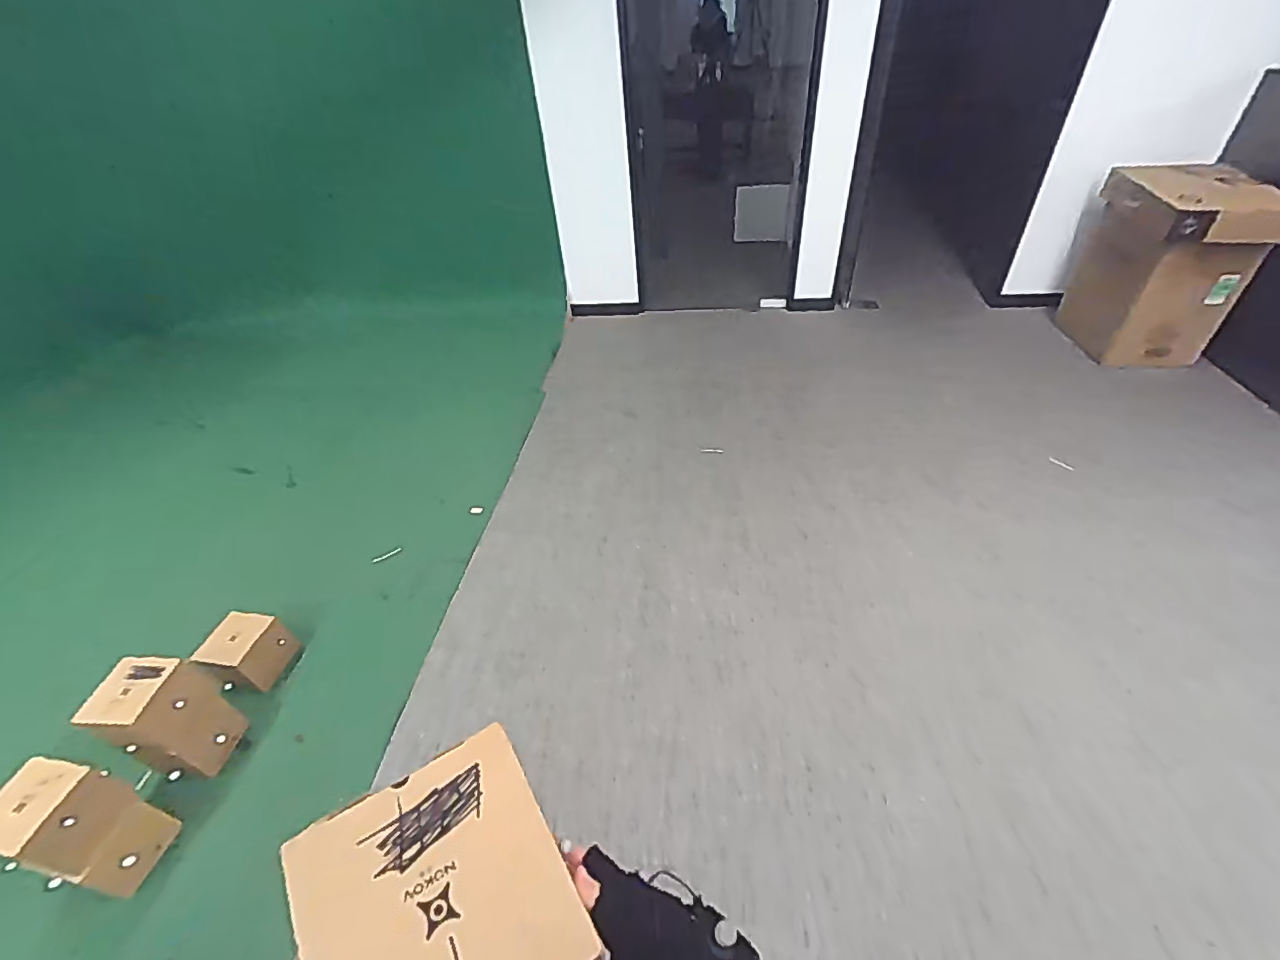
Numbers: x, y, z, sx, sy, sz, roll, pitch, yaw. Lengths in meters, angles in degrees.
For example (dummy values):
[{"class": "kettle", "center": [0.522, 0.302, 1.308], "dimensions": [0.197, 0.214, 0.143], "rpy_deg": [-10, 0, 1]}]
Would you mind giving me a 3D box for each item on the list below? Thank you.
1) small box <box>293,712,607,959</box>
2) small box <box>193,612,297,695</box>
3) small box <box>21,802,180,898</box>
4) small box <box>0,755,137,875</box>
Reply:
[{"class": "small box", "center": [-0.140, 0.329, 0.425], "dimensions": [0.168, 0.176, 0.179], "rpy_deg": [-23, 51, -25]}, {"class": "small box", "center": [-1.220, 0.543, 1.692], "dimensions": [0.168, 0.176, 0.179], "rpy_deg": [4, 42, 11]}, {"class": "small box", "center": [-1.284, 0.881, 1.306], "dimensions": [0.179, 0.176, 0.168], "rpy_deg": [5, 42, 12]}, {"class": "small box", "center": [-1.305, 0.750, 1.207], "dimensions": [0.168, 0.176, 0.179], "rpy_deg": [4, 42, 11]}]
